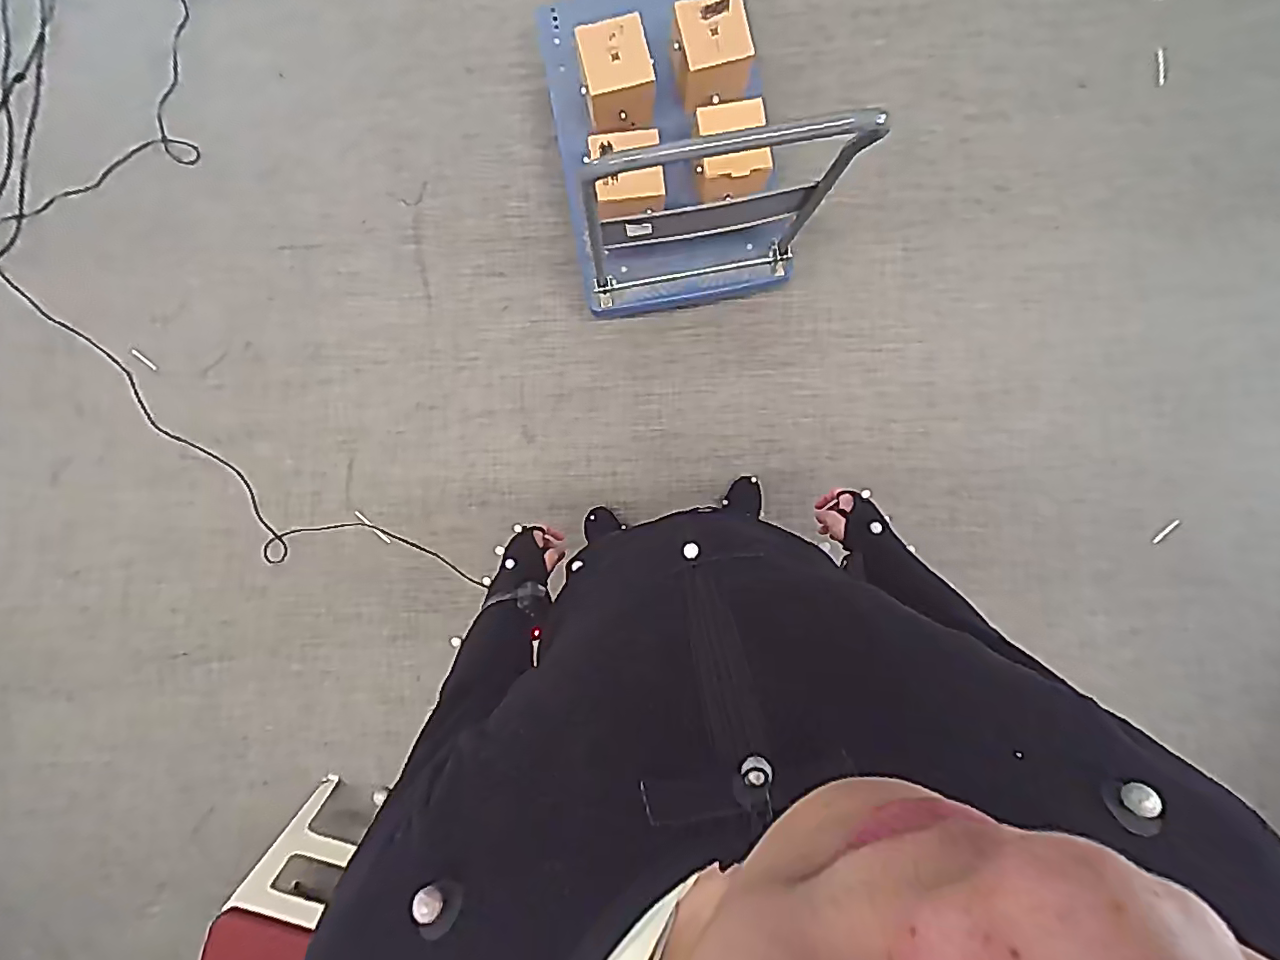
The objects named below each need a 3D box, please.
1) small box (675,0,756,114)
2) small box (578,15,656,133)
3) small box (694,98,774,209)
[{"bbox_3d":[0.190,-1.109,1.411,0.168,0.176,0.179,-14,90,2],"label":"small box"},{"bbox_3d":[-0.054,-1.048,1.415,0.168,0.176,0.179,-14,89,0],"label":"small box"},{"bbox_3d":[0.238,-0.843,1.409,0.168,0.176,0.179,-9,90,1],"label":"small box"}]
